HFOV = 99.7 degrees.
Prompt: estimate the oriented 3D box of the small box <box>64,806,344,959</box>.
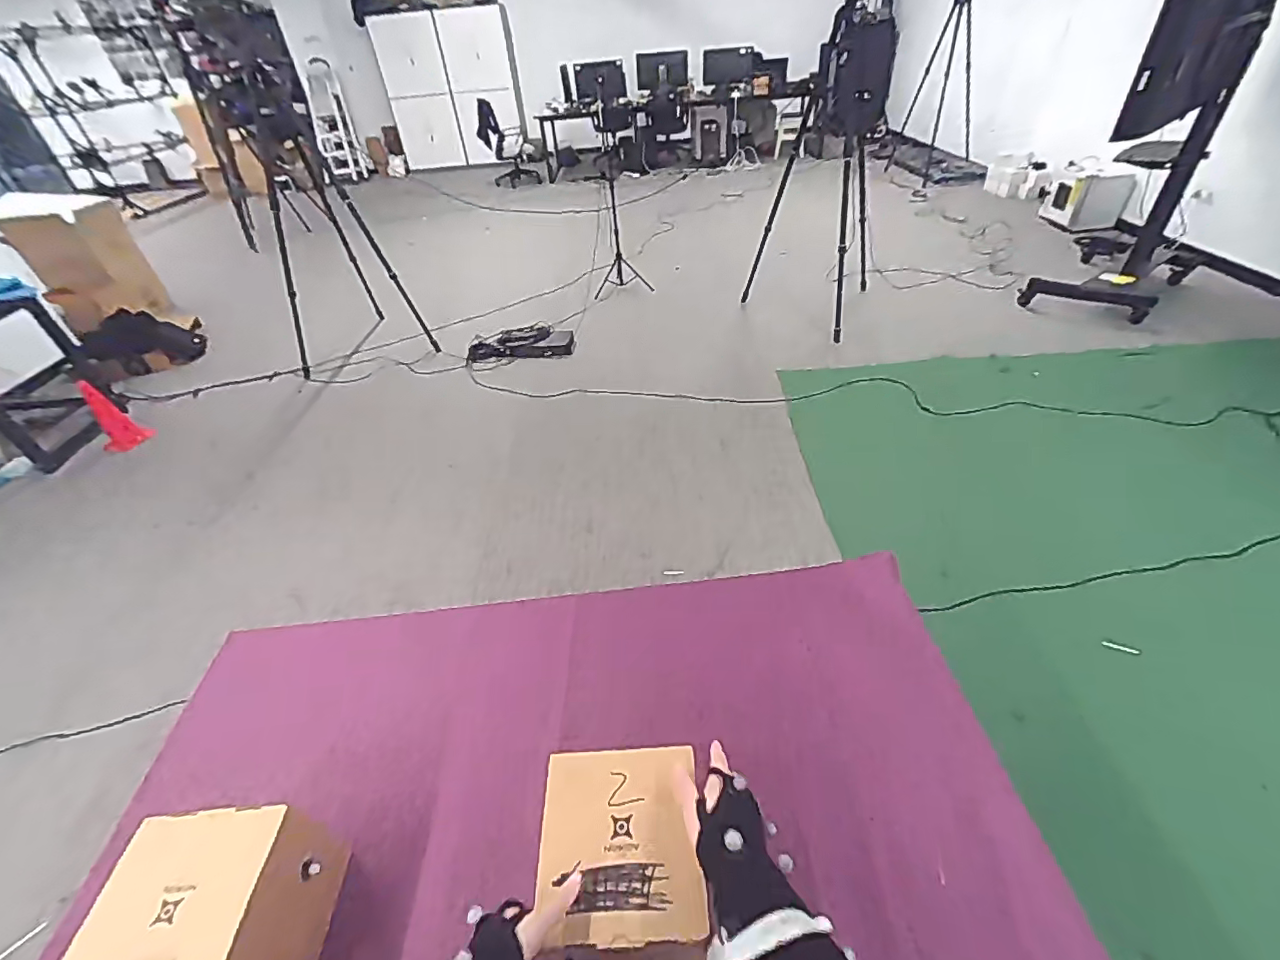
[{"bbox_3d":[-0.458,0.487,0.590,0.168,0.176,0.179,-6,40,1],"label":"small box"}]
